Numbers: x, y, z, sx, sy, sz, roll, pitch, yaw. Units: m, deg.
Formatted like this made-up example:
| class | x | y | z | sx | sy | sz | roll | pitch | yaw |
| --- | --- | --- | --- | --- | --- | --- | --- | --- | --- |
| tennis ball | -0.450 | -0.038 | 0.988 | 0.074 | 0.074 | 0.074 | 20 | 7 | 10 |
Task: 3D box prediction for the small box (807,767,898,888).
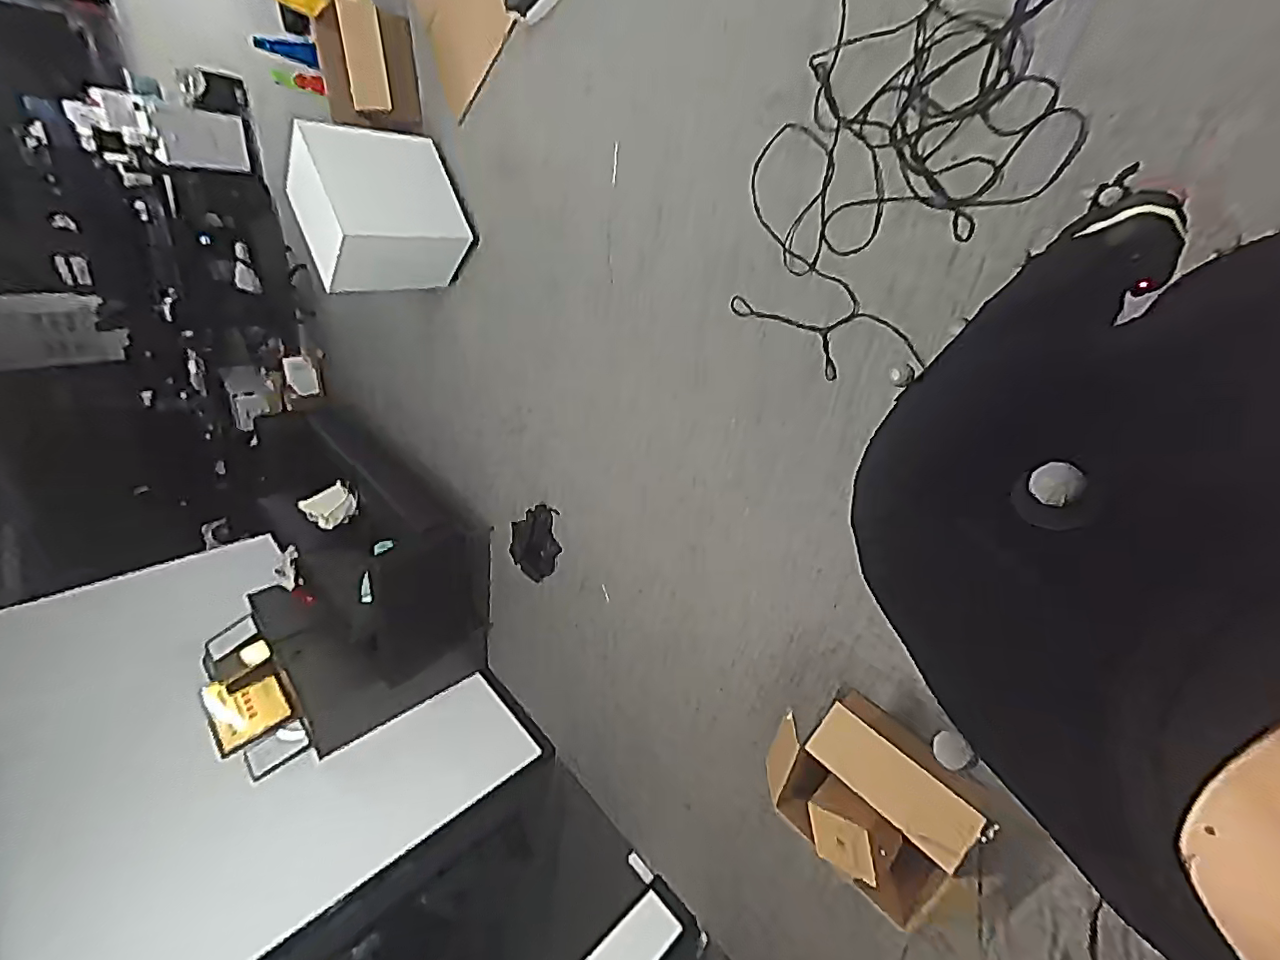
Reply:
| class | x | y | z | sx | sy | sz | roll | pitch | yaw |
| --- | --- | --- | --- | --- | --- | --- | --- | --- | --- |
| small box | 0.574 | 0.920 | 1.449 | 0.168 | 0.176 | 0.179 | -1 | 105 | 47 |
